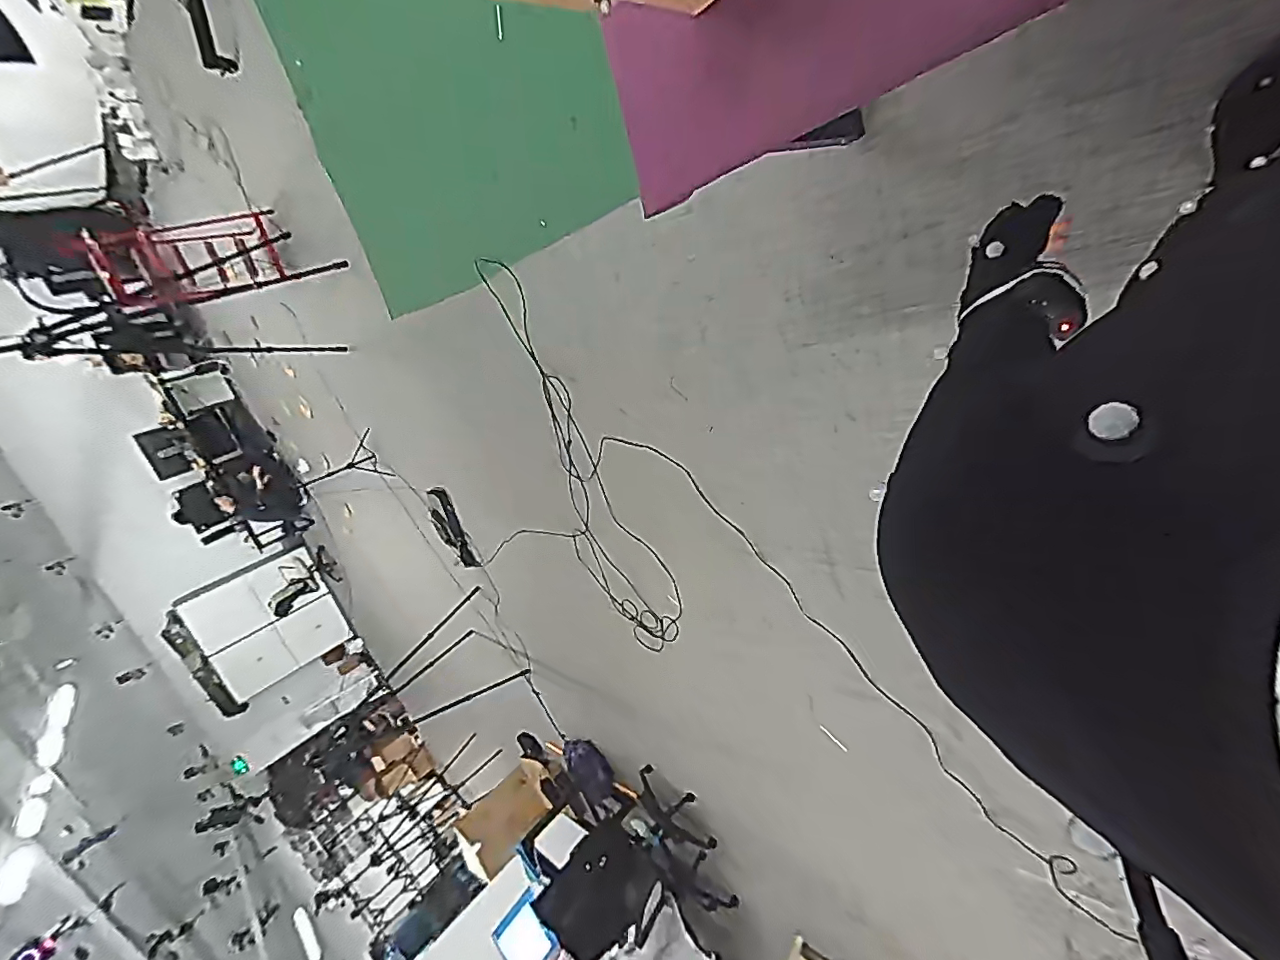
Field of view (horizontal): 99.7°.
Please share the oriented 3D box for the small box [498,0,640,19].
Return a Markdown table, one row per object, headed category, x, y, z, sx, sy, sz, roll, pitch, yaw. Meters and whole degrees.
| category | x | y | z | sx | sy | sz | roll | pitch | yaw |
| --- | --- | --- | --- | --- | --- | --- | --- | --- | --- |
| small box | -0.048 | -0.562 | 0.493 | 0.168 | 0.176 | 0.179 | 4 | 118 | 44 |
